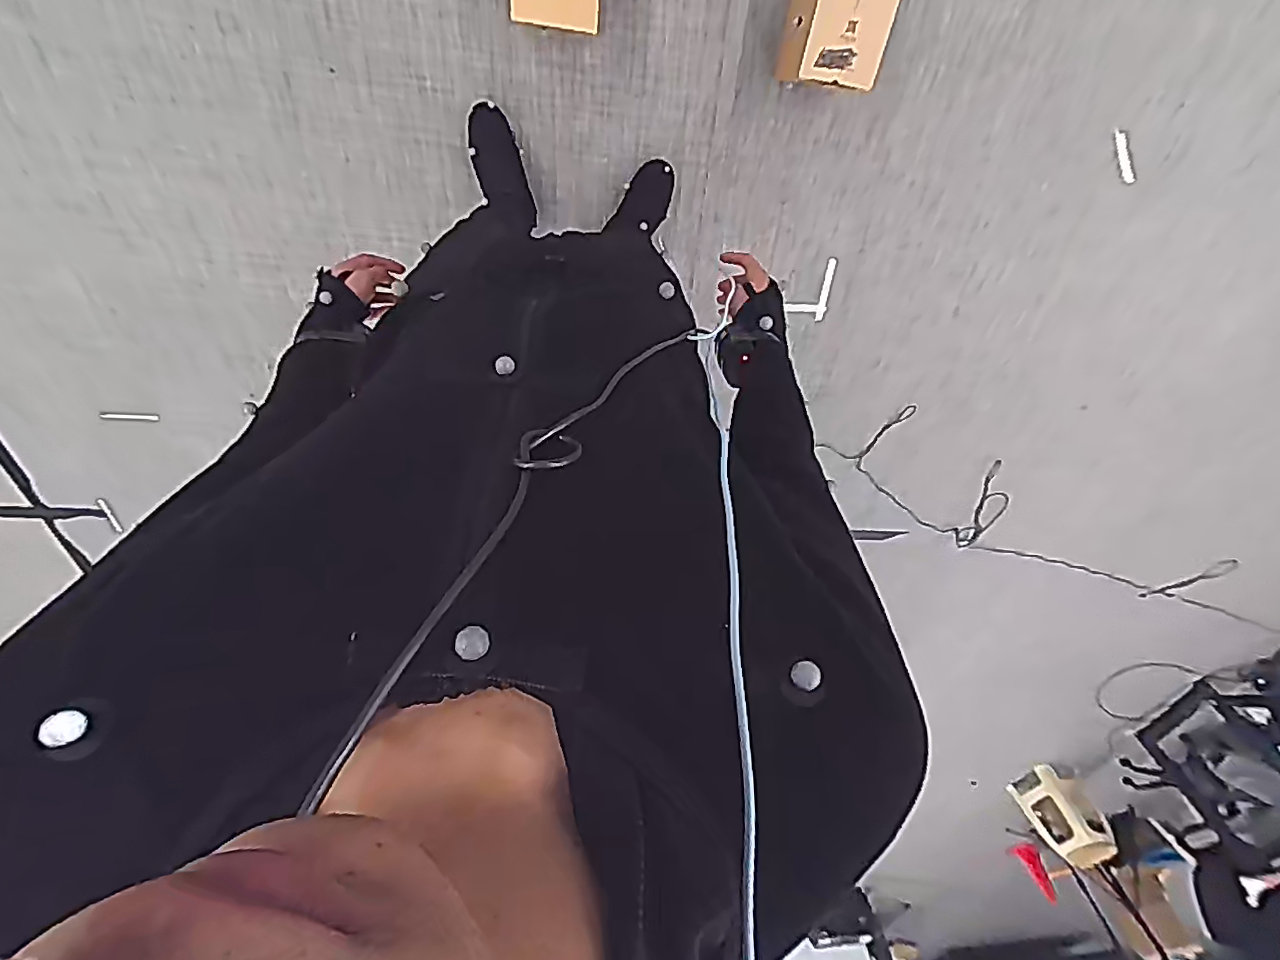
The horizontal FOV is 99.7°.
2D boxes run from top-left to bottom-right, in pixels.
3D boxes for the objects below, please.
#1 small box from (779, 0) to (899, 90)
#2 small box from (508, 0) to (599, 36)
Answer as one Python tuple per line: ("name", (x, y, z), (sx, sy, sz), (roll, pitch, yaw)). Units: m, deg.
("small box", (0.405, -0.936, 1.129), (0.168, 0.176, 0.179), (4, 125, -9))
("small box", (-0.160, -0.983, 1.043), (0.168, 0.176, 0.179), (3, 125, -7))
